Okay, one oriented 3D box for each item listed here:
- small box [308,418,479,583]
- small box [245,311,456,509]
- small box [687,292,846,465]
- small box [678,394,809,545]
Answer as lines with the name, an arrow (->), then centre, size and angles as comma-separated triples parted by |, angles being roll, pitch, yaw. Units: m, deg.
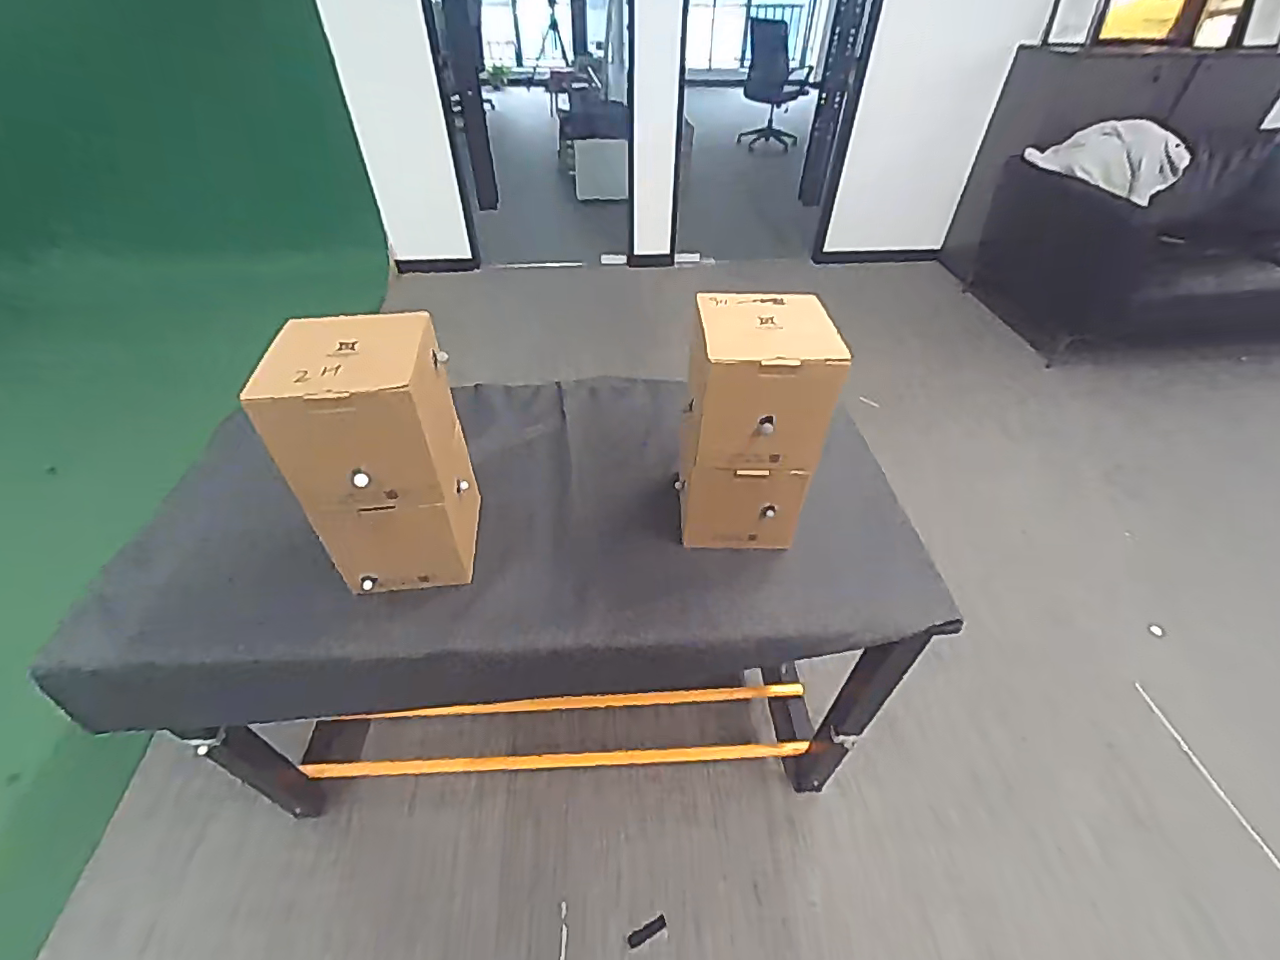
small box -> -0.333, 0.033, 0.775 | 0.168, 0.176, 0.179 | -4, 43, -6
small box -> -0.330, -0.088, 0.663 | 0.168, 0.176, 0.179 | -6, 44, -7
small box -> 0.154, -0.134, 0.727 | 0.168, 0.176, 0.179 | 1, 44, -1
small box -> 0.148, -0.015, 0.839 | 0.168, 0.176, 0.179 | 2, 43, -1
